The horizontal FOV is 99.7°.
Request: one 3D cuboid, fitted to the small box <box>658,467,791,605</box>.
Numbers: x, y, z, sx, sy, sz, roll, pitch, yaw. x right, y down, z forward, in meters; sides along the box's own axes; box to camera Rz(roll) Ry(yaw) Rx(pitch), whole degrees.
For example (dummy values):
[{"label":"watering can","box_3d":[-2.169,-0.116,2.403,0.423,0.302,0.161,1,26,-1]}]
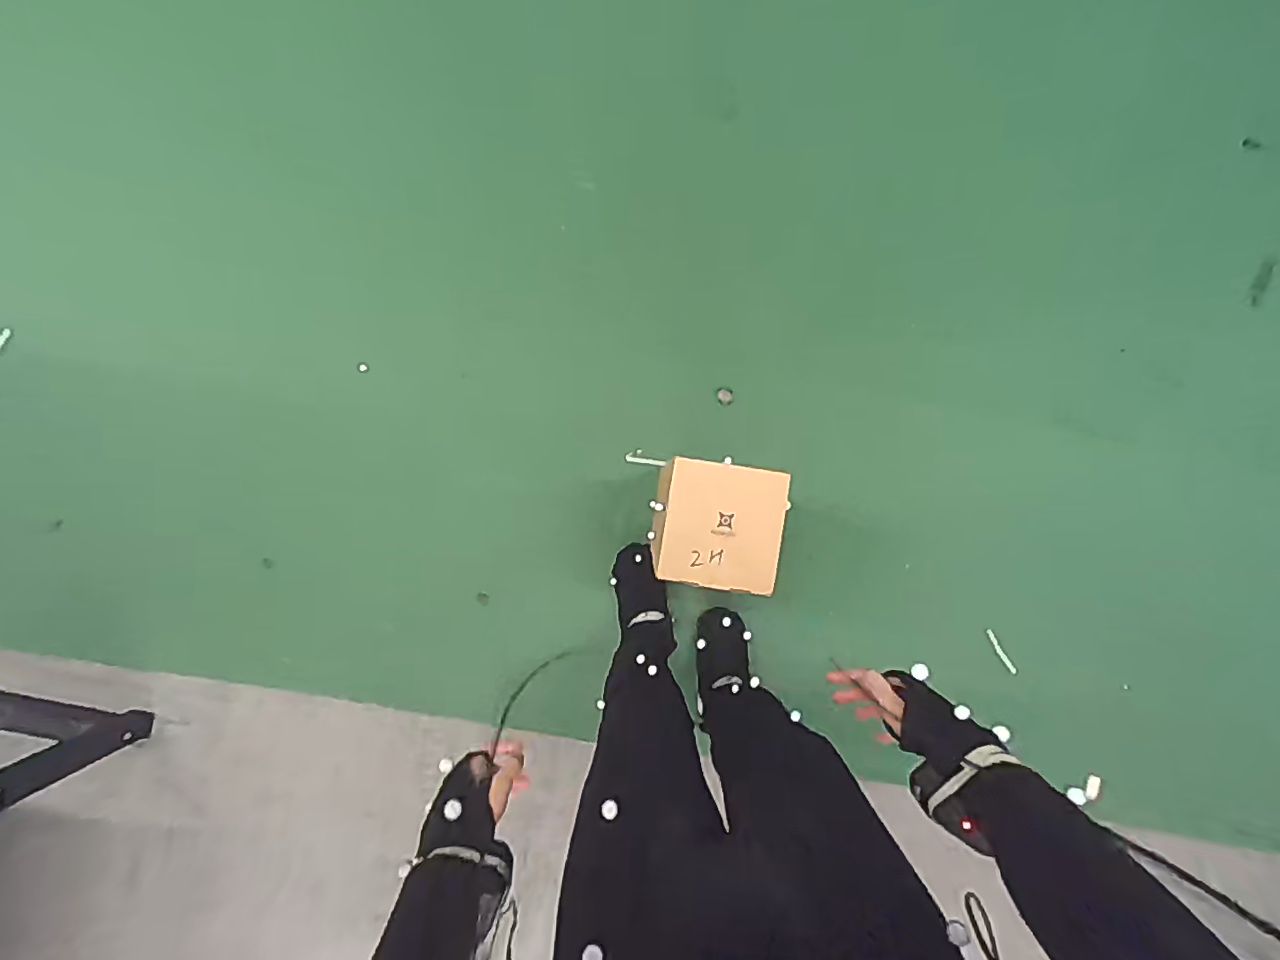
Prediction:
[{"label":"small box","box_3d":[0.120,0.080,0.835,0.168,0.176,0.179,8,89,1]}]
